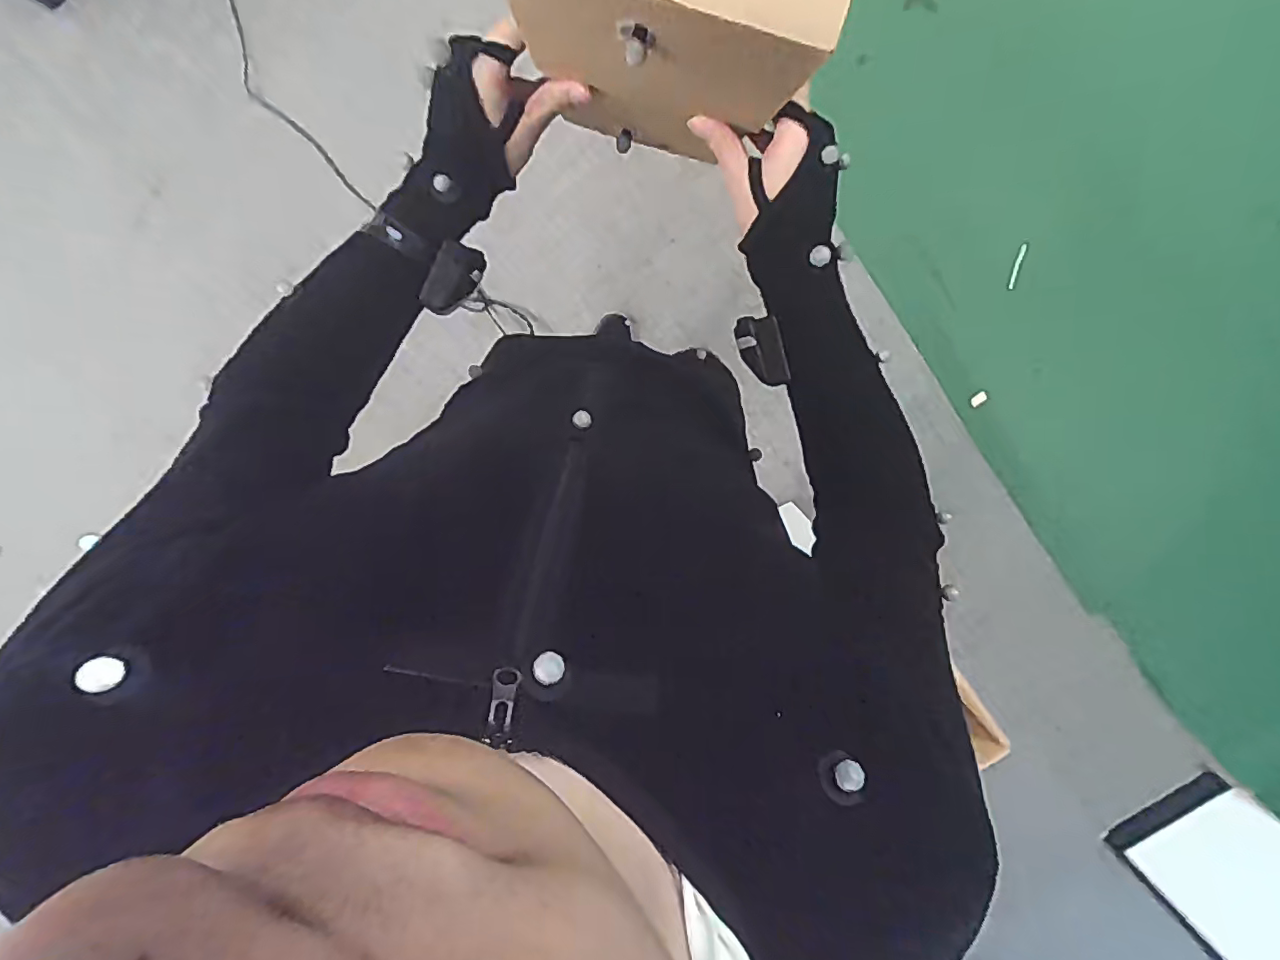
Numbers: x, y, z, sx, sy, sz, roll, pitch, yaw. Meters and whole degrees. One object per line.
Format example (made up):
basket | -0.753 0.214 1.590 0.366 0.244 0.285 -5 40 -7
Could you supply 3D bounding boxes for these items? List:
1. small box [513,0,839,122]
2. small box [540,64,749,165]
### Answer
small box | 0.023 -0.328 0.302 0.179 0.176 0.168 11 111 -6
small box | 0.019 -0.392 0.453 0.168 0.176 0.179 11 111 -7
